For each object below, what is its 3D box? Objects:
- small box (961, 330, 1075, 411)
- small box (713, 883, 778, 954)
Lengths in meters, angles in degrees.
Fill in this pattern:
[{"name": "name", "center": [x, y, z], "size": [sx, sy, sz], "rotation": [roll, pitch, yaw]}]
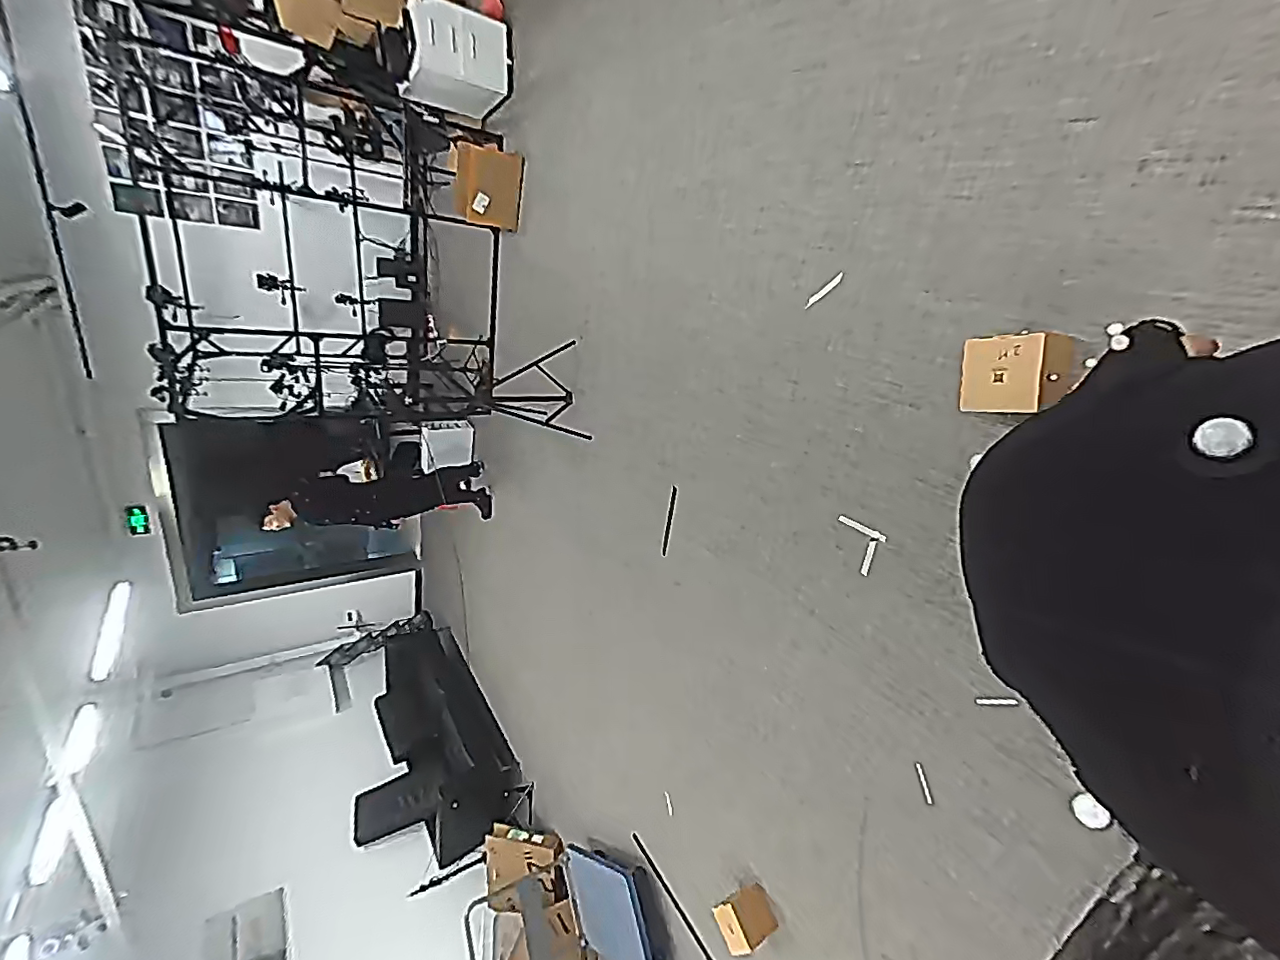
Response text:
[{"name": "small box", "center": [0.888, -0.255, 1.271], "size": [0.168, 0.176, 0.179], "rotation": [13, 106, 55]}, {"name": "small box", "center": [0.449, 1.858, 2.293], "size": [0.179, 0.176, 0.168], "rotation": [60, 140, 31]}]
